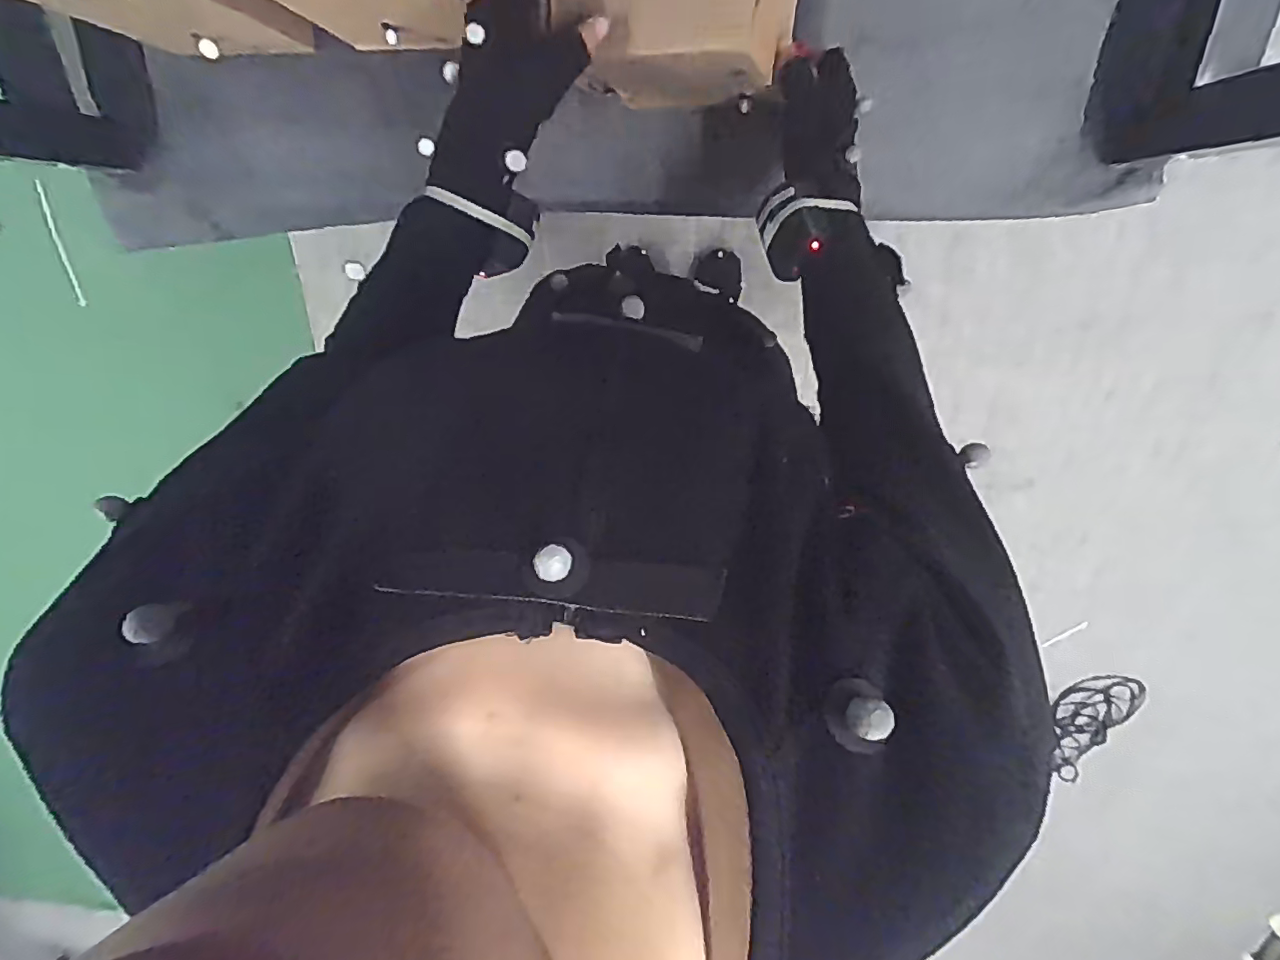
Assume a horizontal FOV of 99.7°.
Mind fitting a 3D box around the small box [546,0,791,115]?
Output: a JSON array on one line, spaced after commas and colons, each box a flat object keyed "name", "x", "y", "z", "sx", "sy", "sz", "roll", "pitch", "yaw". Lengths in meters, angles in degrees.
[{"name": "small box", "x": 0.035, "y": -0.427, "z": 0.451, "sx": 0.176, "sy": 0.168, "sz": 0.179, "roll": 11, "pitch": 114, "yaw": 18}]
